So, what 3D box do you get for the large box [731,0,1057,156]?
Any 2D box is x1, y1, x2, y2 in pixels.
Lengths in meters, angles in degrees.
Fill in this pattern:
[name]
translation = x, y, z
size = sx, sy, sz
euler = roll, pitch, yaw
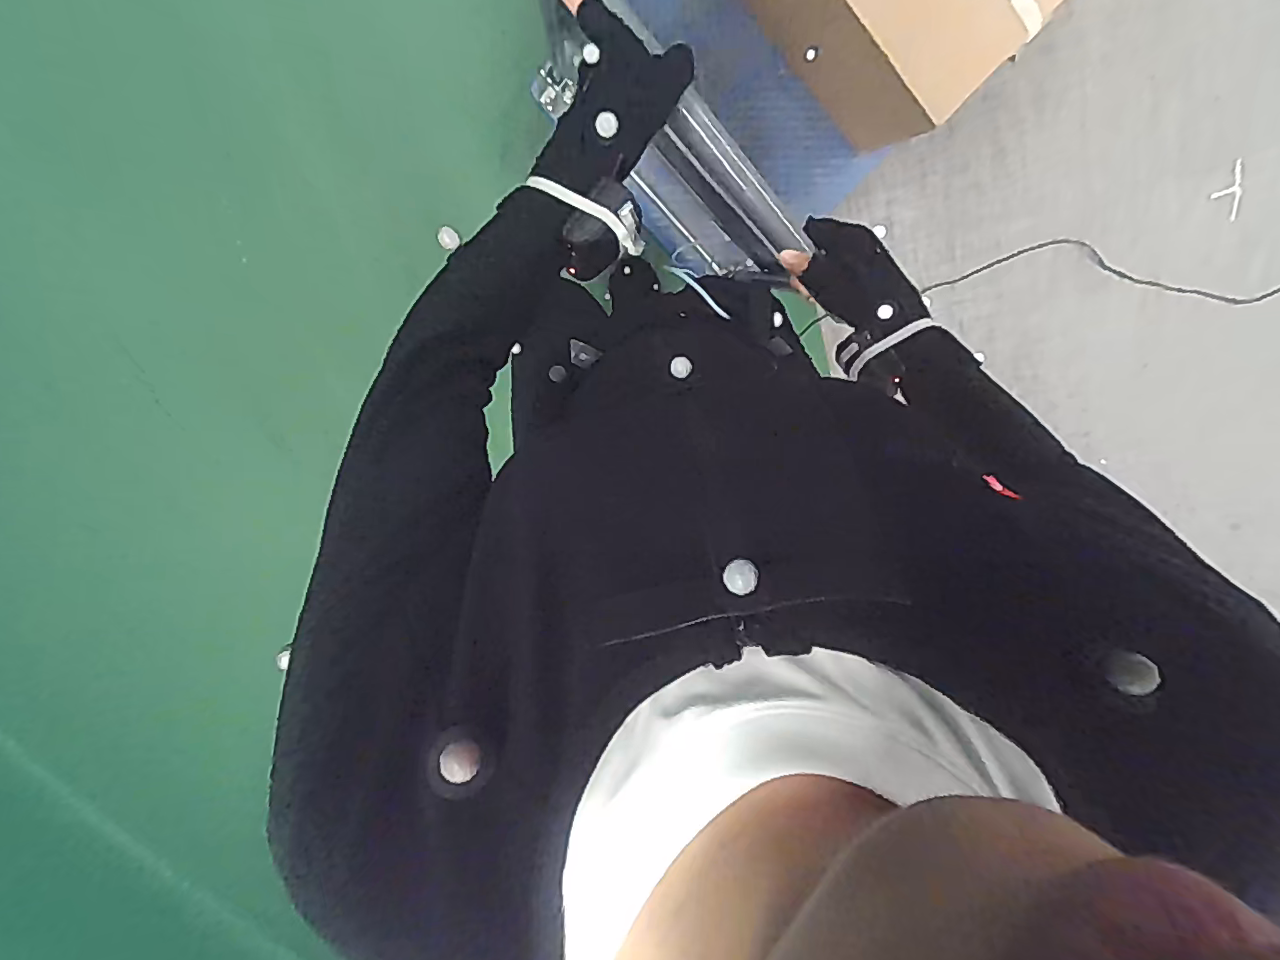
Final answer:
[large box]
translation = 0.386, -0.794, 0.831
size = 0.408, 0.320, 0.320
euler = 41, 107, -16
